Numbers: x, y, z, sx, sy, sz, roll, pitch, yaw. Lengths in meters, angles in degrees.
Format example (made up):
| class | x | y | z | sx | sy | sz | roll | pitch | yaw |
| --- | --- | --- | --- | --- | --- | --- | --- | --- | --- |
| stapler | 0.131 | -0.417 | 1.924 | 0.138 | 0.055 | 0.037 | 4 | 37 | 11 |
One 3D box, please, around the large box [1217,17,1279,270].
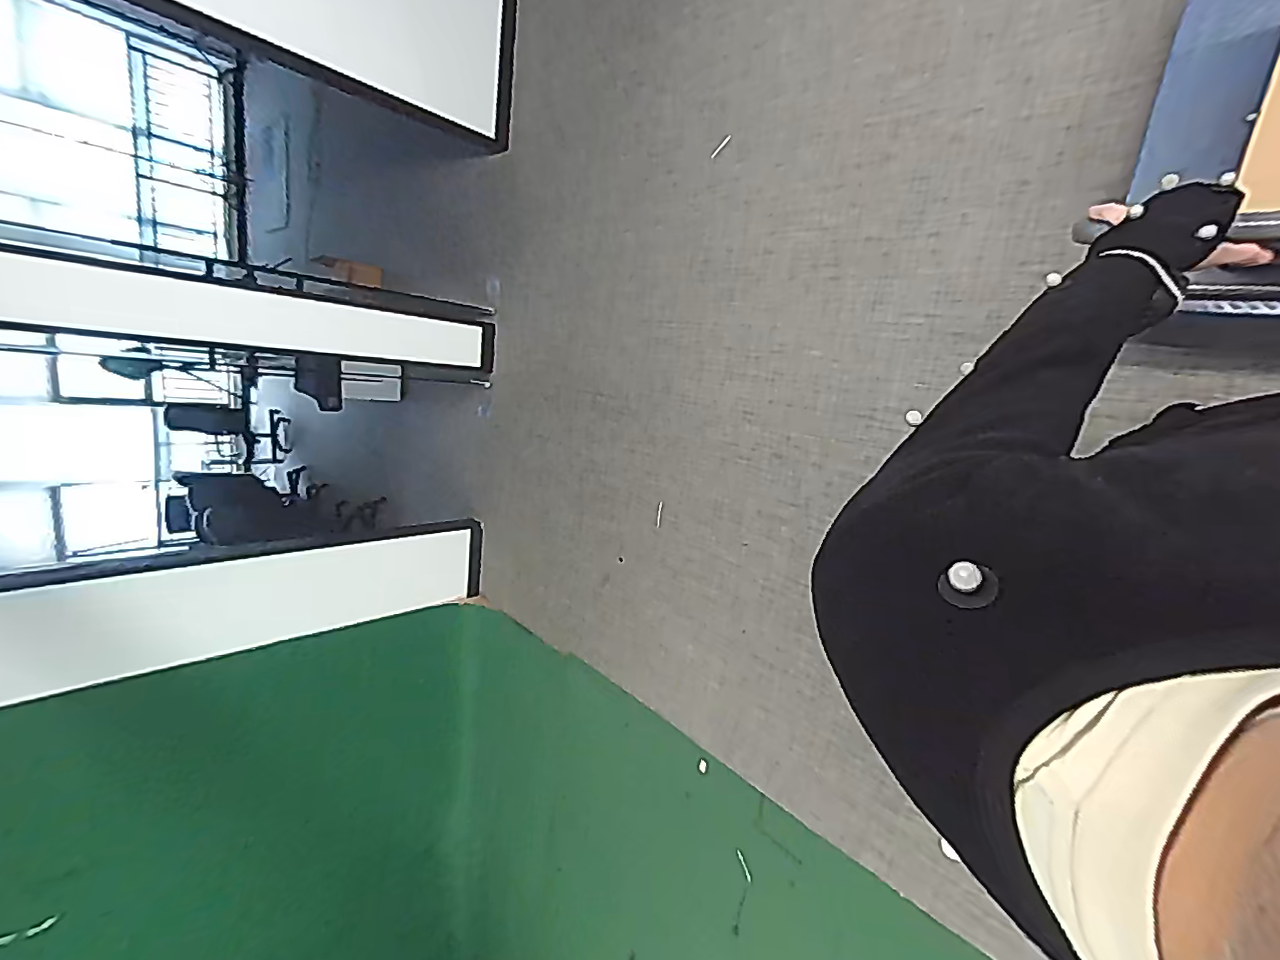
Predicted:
| class | x | y | z | sx | sy | sz | roll | pitch | yaw |
| --- | --- | --- | --- | --- | --- | --- | --- | --- | --- |
| large box | 1.104 | -0.548 | 0.773 | 0.320 | 0.320 | 0.408 | 18 | 105 | 42 |
